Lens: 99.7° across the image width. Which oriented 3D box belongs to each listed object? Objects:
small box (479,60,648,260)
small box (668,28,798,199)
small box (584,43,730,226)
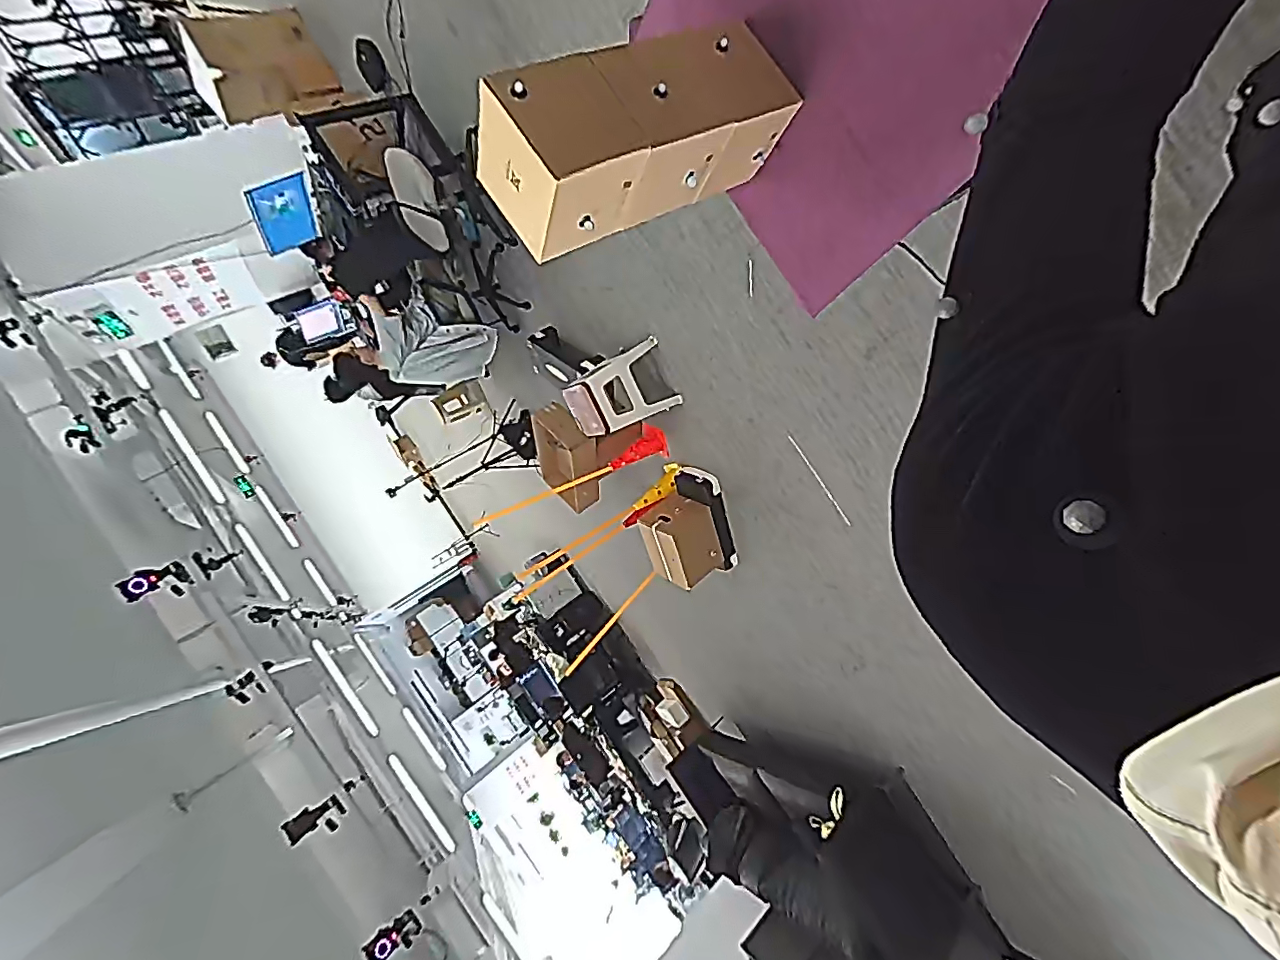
[{"bbox_3d":[-0.115,-0.468,0.793,0.179,0.176,0.168,55,156,4],"label":"small box"},{"bbox_3d":[0.131,-0.632,0.931,0.179,0.176,0.168,54,155,2],"label":"small box"},{"bbox_3d":[0.008,-0.550,0.861,0.179,0.176,0.168,55,156,3],"label":"small box"}]
